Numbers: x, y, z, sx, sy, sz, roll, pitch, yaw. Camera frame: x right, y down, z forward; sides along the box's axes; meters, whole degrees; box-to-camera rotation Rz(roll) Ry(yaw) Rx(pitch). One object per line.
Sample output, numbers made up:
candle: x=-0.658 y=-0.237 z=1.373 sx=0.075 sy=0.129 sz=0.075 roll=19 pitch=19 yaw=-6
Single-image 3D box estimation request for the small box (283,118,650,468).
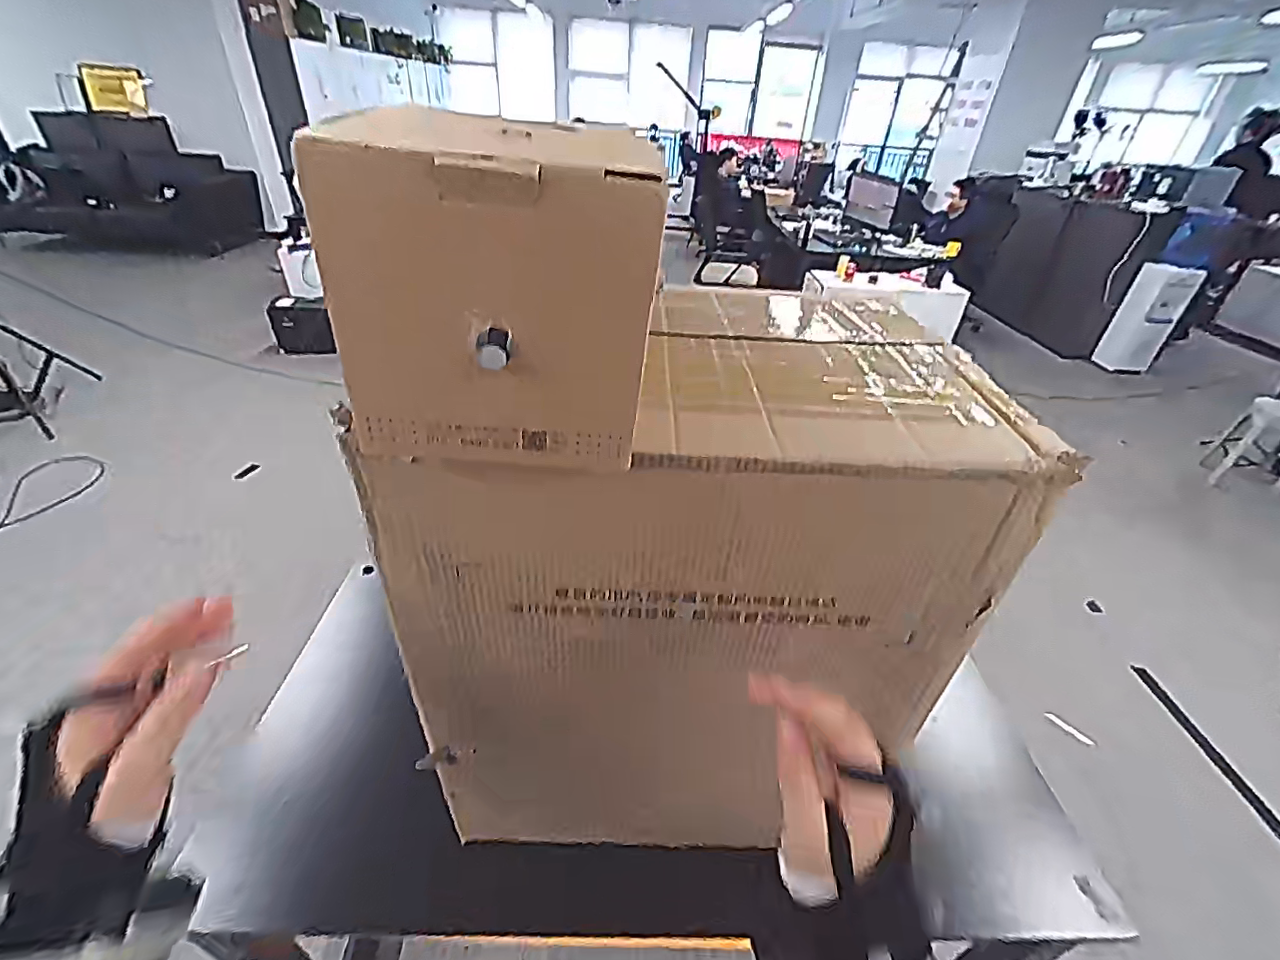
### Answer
small box: x=-0.086 y=-0.122 z=0.354 sx=0.168 sy=0.176 sz=0.179 roll=3 pitch=37 yaw=-7
